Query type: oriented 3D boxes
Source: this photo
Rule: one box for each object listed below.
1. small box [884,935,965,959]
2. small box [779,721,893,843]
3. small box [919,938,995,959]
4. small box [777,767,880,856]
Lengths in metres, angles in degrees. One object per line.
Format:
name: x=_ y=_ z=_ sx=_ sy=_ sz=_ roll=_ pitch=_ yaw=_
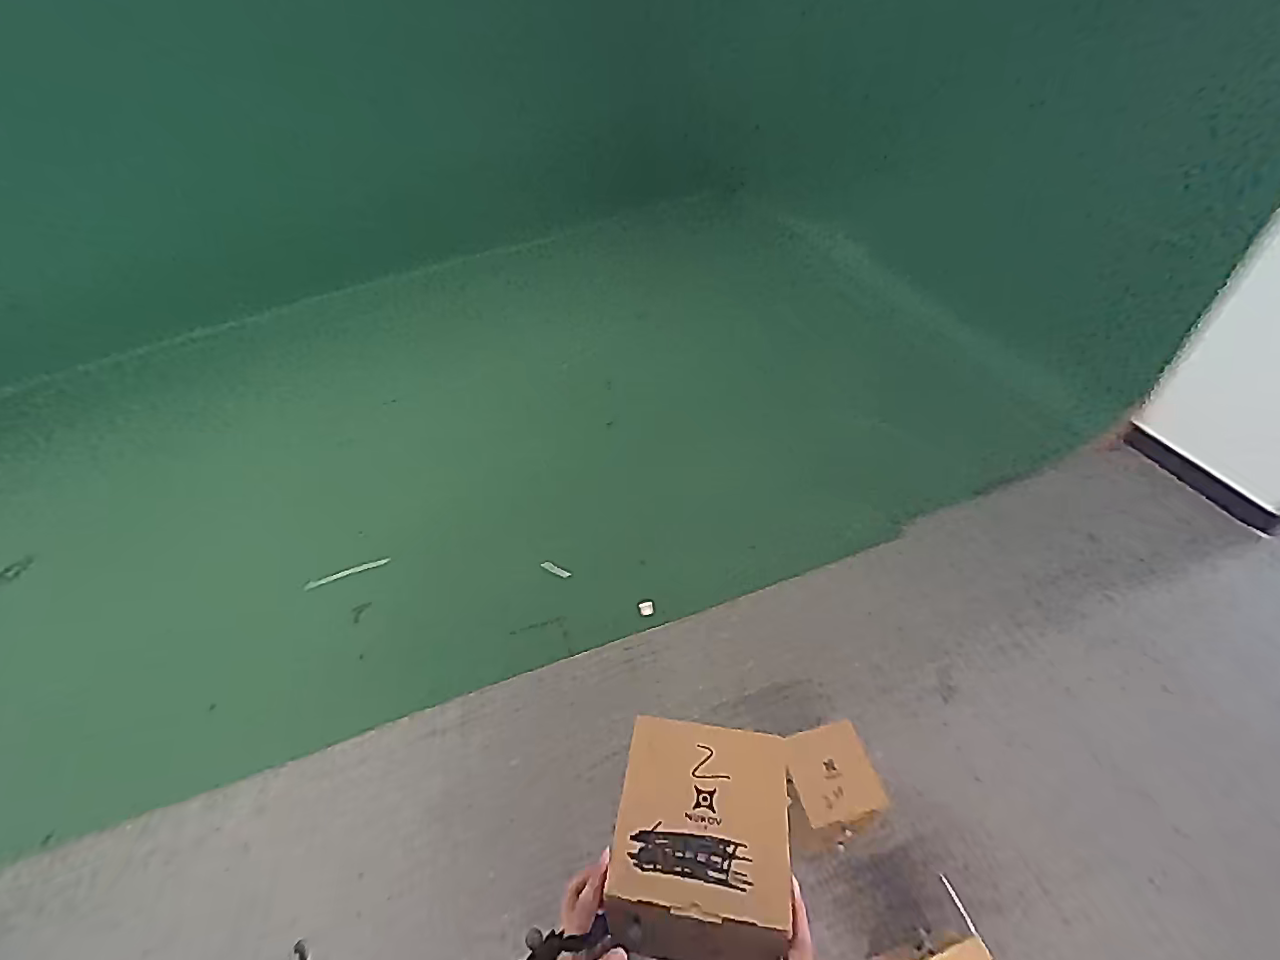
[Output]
small box: x=0.576 y=1.011 z=1.034 sx=0.168 sy=0.176 sz=0.179 roll=-17 pitch=48 yaw=-4
small box: x=0.410 y=0.654 z=1.167 sx=0.168 sy=0.176 sz=0.179 roll=-15 pitch=49 yaw=-2
small box: x=0.538 y=0.912 z=0.909 sx=0.179 sy=0.176 sz=0.168 roll=-20 pitch=47 yaw=-7
small box: x=0.437 y=0.769 z=1.282 sx=0.168 sy=0.176 sz=0.179 roll=-16 pitch=48 yaw=-3
